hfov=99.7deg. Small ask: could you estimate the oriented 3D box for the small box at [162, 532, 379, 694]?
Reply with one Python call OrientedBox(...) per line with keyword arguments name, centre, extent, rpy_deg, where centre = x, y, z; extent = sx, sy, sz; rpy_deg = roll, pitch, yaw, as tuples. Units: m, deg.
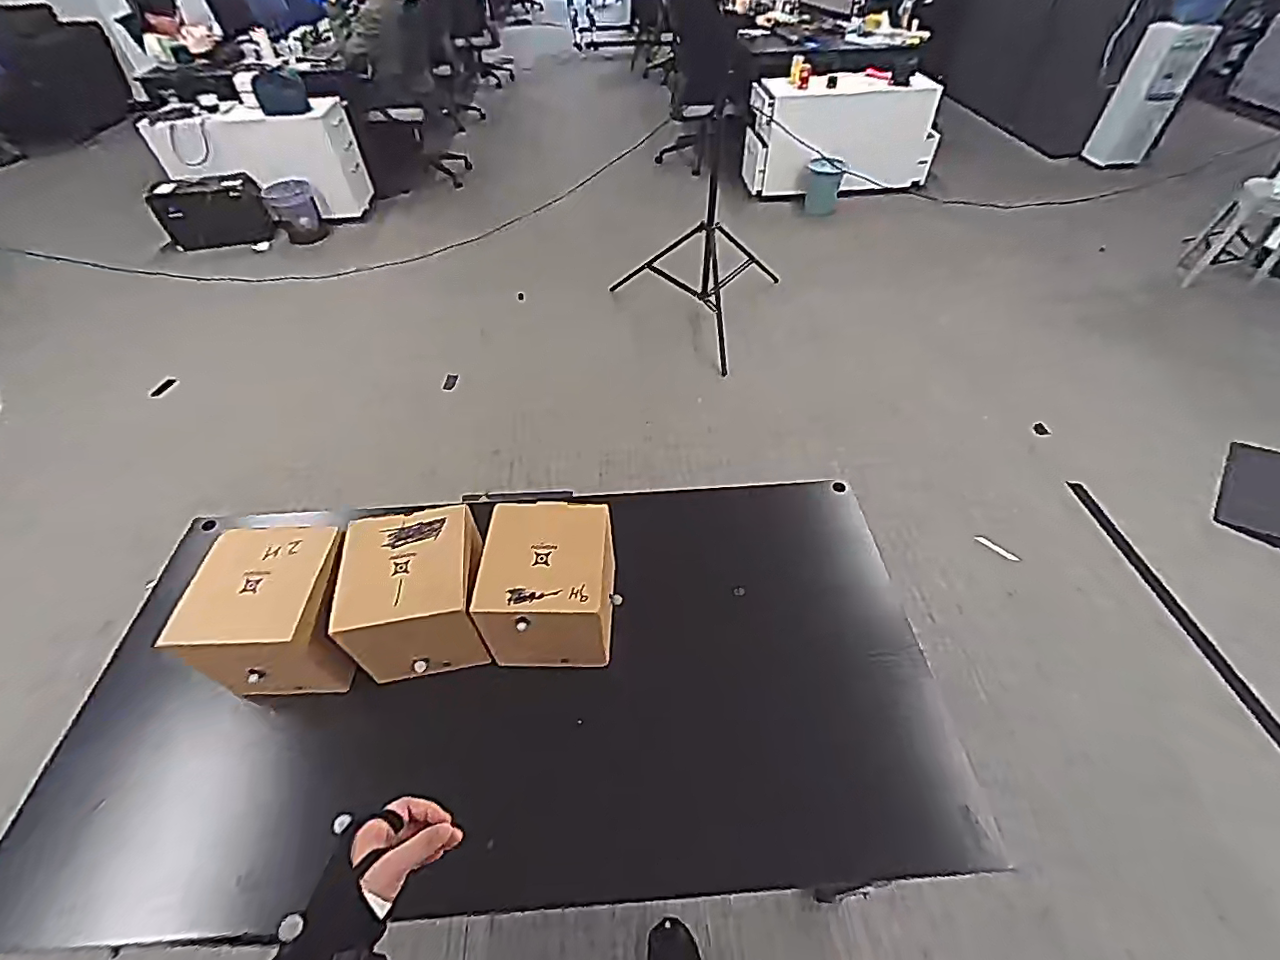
OrientedBox(name="small box", centre=(-0.501, 0.194, 0.771), extent=(0.168, 0.176, 0.179), rpy_deg=(-2, 48, 0))
